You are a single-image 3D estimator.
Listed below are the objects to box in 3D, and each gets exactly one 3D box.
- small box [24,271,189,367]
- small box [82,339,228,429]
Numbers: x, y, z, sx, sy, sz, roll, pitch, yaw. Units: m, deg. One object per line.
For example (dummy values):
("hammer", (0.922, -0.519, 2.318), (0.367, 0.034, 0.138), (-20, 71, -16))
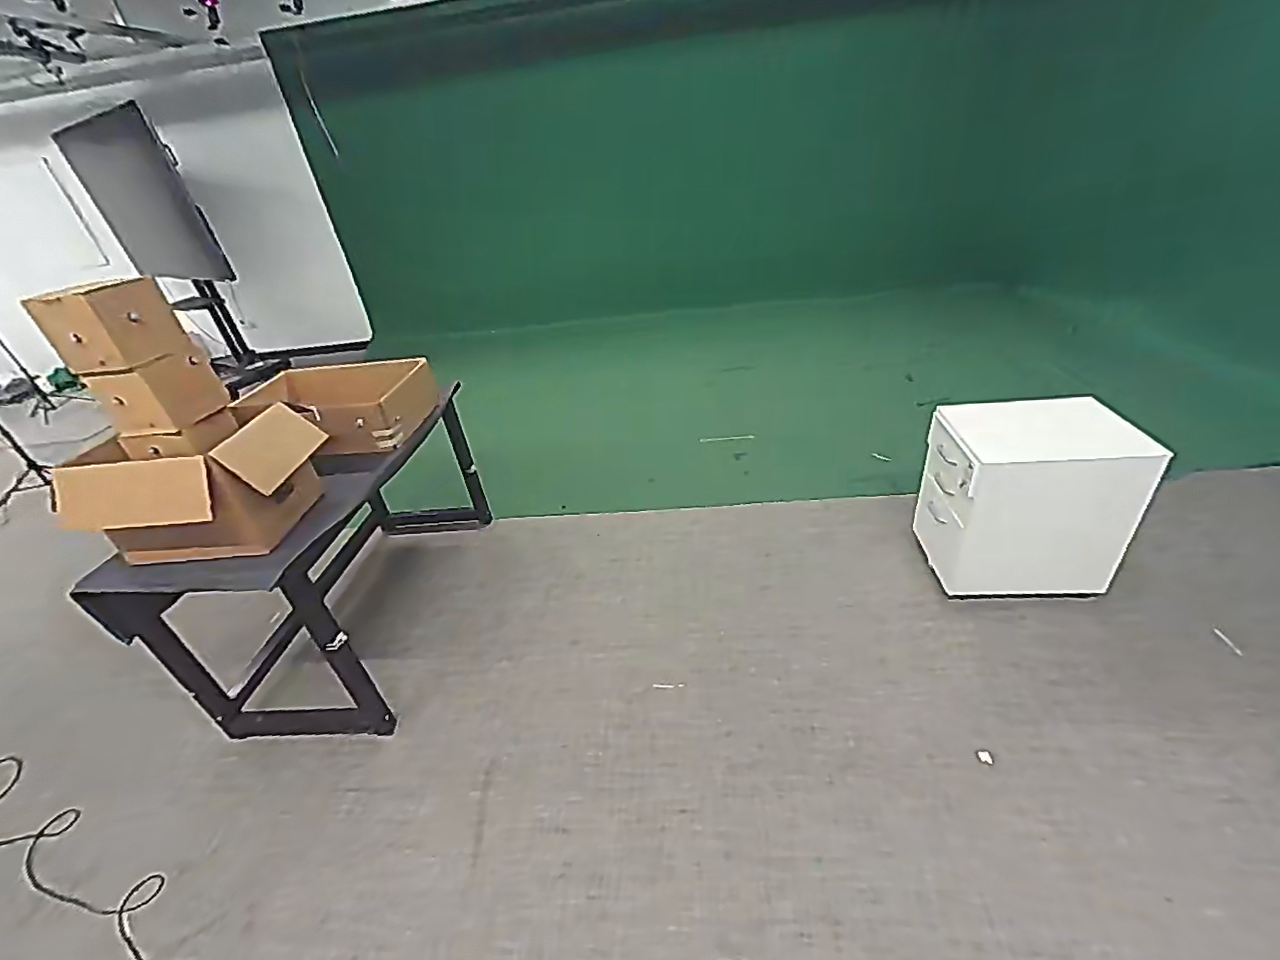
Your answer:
("small box", (-1.204, -0.365, 1.239), (0.168, 0.176, 0.179), (-1, 34, 10))
("small box", (-1.179, -0.233, 1.334), (0.168, 0.176, 0.179), (0, 33, 11))
